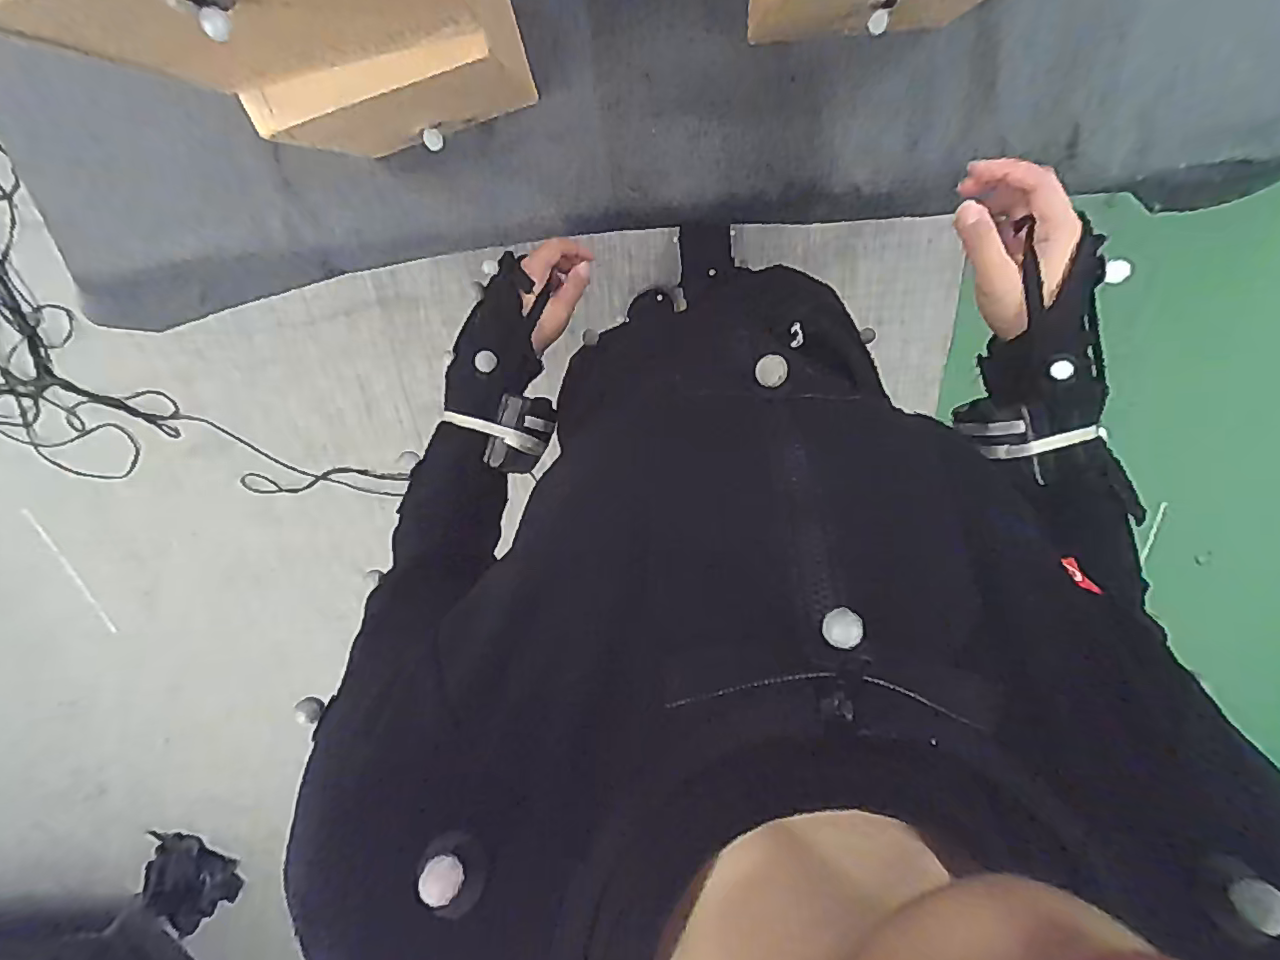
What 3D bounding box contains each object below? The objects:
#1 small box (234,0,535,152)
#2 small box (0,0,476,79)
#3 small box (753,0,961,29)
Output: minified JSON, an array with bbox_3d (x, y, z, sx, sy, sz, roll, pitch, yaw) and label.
[{"bbox_3d":[-0.189,-0.354,0.376,0.168,0.176,0.179,-13,116,8],"label":"small box"},{"bbox_3d":[-0.189,-0.294,0.225,0.179,0.176,0.168,-10,118,5],"label":"small box"},{"bbox_3d":[0.164,-0.416,0.341,0.168,0.176,0.179,-4,118,3],"label":"small box"}]
